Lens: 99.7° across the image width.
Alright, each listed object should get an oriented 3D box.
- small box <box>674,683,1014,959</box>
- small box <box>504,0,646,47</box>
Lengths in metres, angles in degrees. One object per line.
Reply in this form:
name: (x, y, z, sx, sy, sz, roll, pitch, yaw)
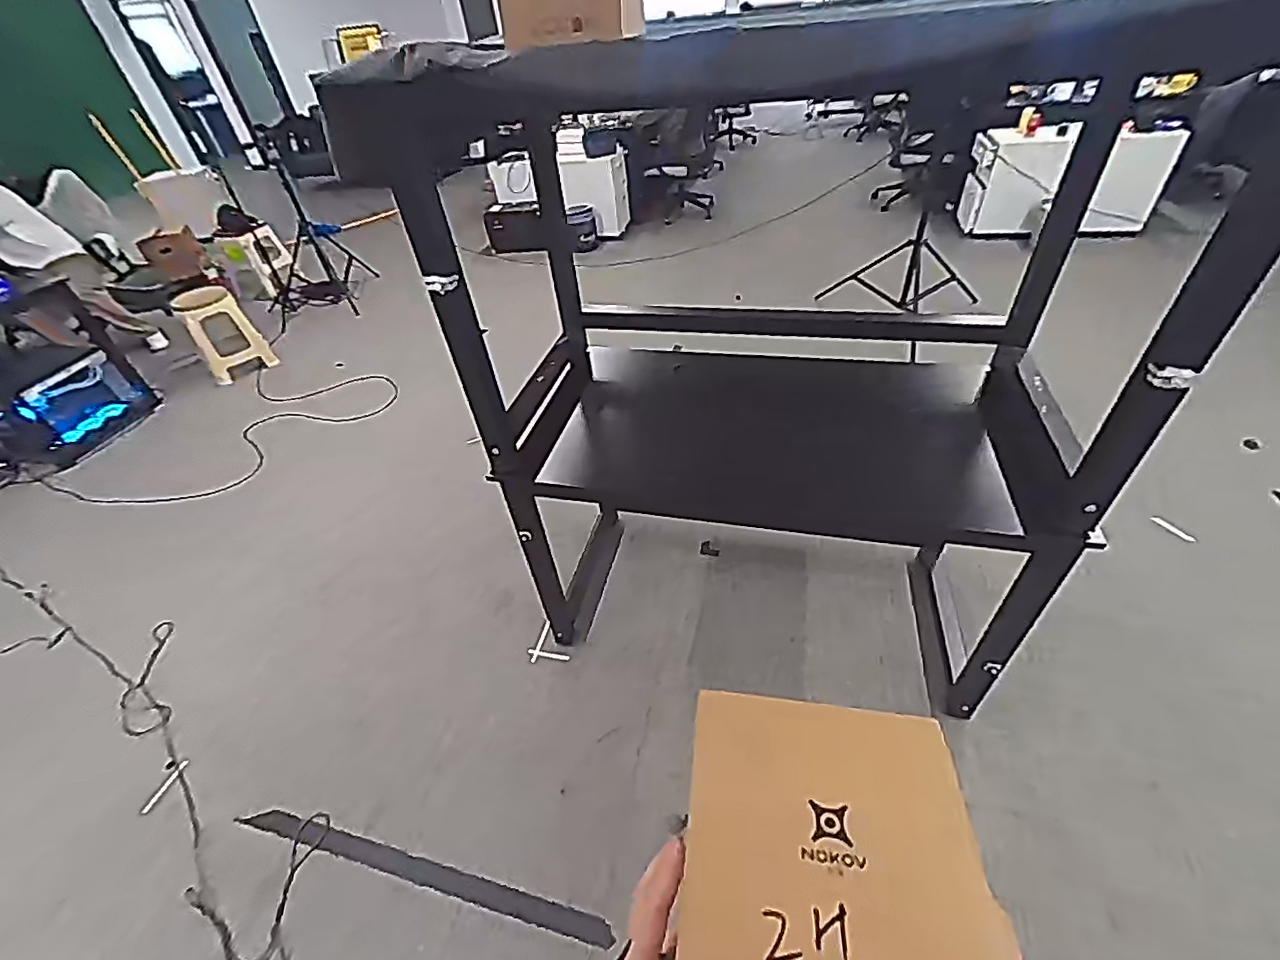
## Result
small box: (0.111, 0.268, 0.358, 0.168, 0.176, 0.179, 4, 37, 9)
small box: (-0.087, -0.689, 0.718, 0.168, 0.176, 0.179, 4, 42, 10)
